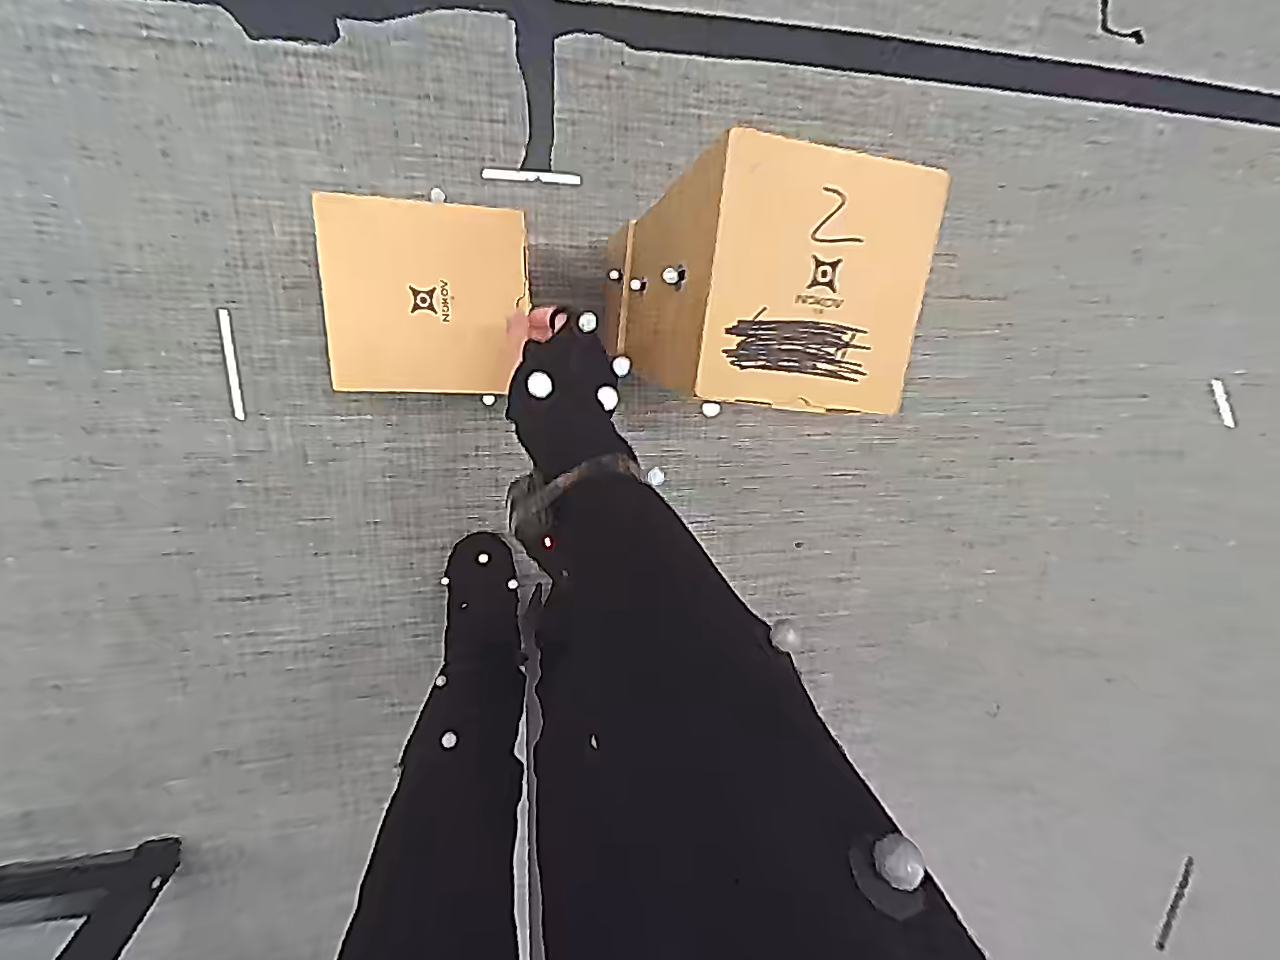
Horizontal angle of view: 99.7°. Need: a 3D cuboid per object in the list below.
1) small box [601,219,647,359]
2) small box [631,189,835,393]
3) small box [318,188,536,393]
[{"bbox_3d":[0.051,-0.251,0.758,0.179,0.176,0.168,3,105,-14],"label":"small box"},{"bbox_3d":[0.088,-0.200,0.605,0.168,0.176,0.179,2,105,-13],"label":"small box"},{"bbox_3d":[-0.198,-0.181,0.552,0.179,0.176,0.168,-2,106,-13],"label":"small box"}]
